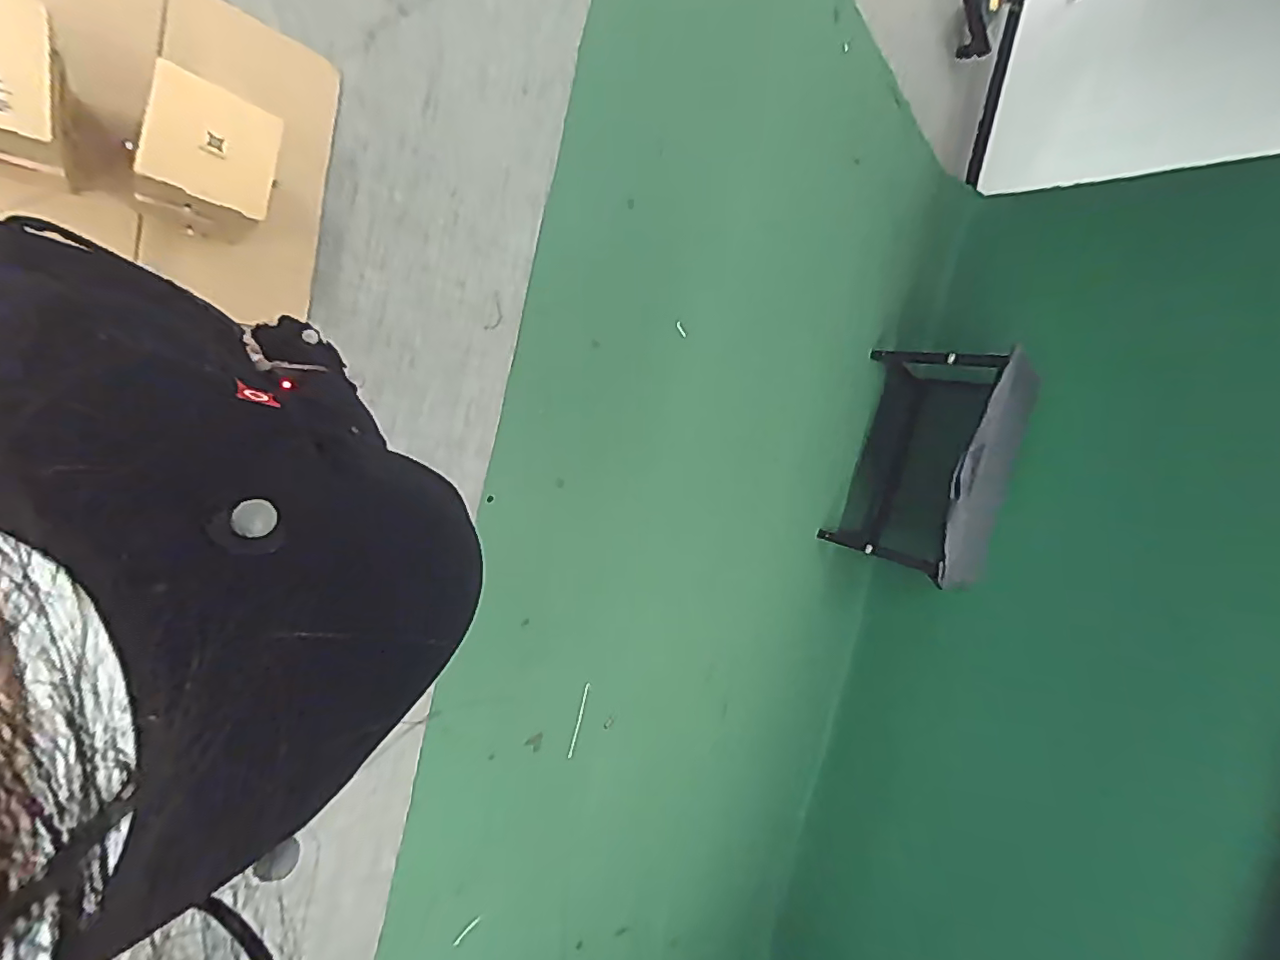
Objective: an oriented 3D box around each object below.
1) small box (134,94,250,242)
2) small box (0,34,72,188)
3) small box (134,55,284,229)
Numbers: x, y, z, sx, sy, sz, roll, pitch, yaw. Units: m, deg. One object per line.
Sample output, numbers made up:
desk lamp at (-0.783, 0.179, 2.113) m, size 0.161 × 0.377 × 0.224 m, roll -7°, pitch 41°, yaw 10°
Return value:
small box at (-0.842, -0.577, 1.028) m, size 0.168 × 0.176 × 0.179 m, roll 7°, pitch 97°, yaw -43°
small box at (-1.019, -0.588, 0.851) m, size 0.168 × 0.176 × 0.179 m, roll 1°, pitch 101°, yaw -44°
small box at (-0.730, -0.551, 0.913) m, size 0.168 × 0.176 × 0.179 m, roll 11°, pitch 95°, yaw -44°
